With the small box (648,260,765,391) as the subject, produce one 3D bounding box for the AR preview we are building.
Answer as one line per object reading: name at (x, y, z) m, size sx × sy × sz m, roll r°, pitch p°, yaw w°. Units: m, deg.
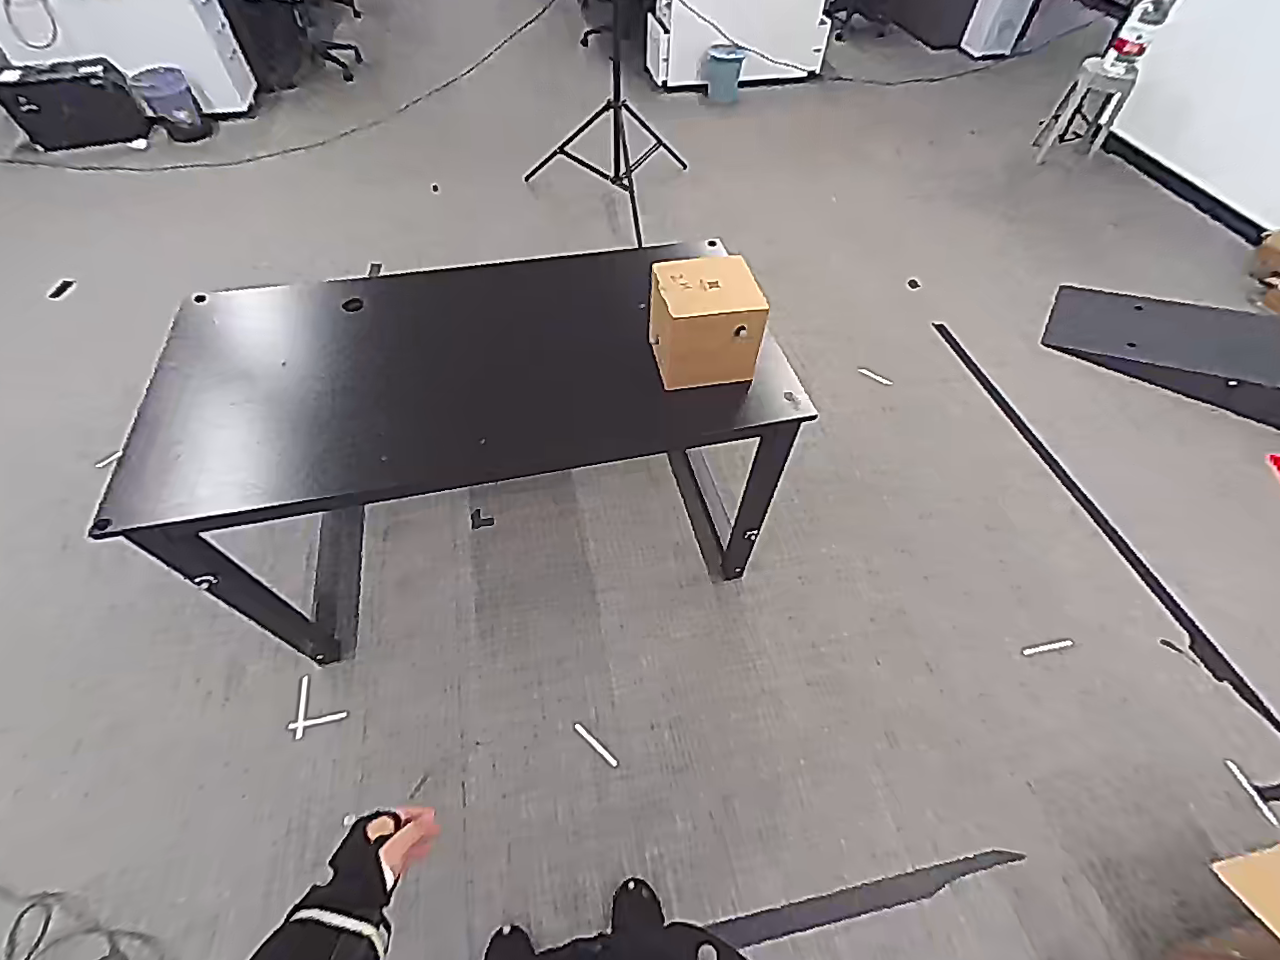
small box at (0.115, -0.289, 1.023) m, size 0.179 × 0.176 × 0.168 m, roll -9°, pitch 54°, yaw -7°
